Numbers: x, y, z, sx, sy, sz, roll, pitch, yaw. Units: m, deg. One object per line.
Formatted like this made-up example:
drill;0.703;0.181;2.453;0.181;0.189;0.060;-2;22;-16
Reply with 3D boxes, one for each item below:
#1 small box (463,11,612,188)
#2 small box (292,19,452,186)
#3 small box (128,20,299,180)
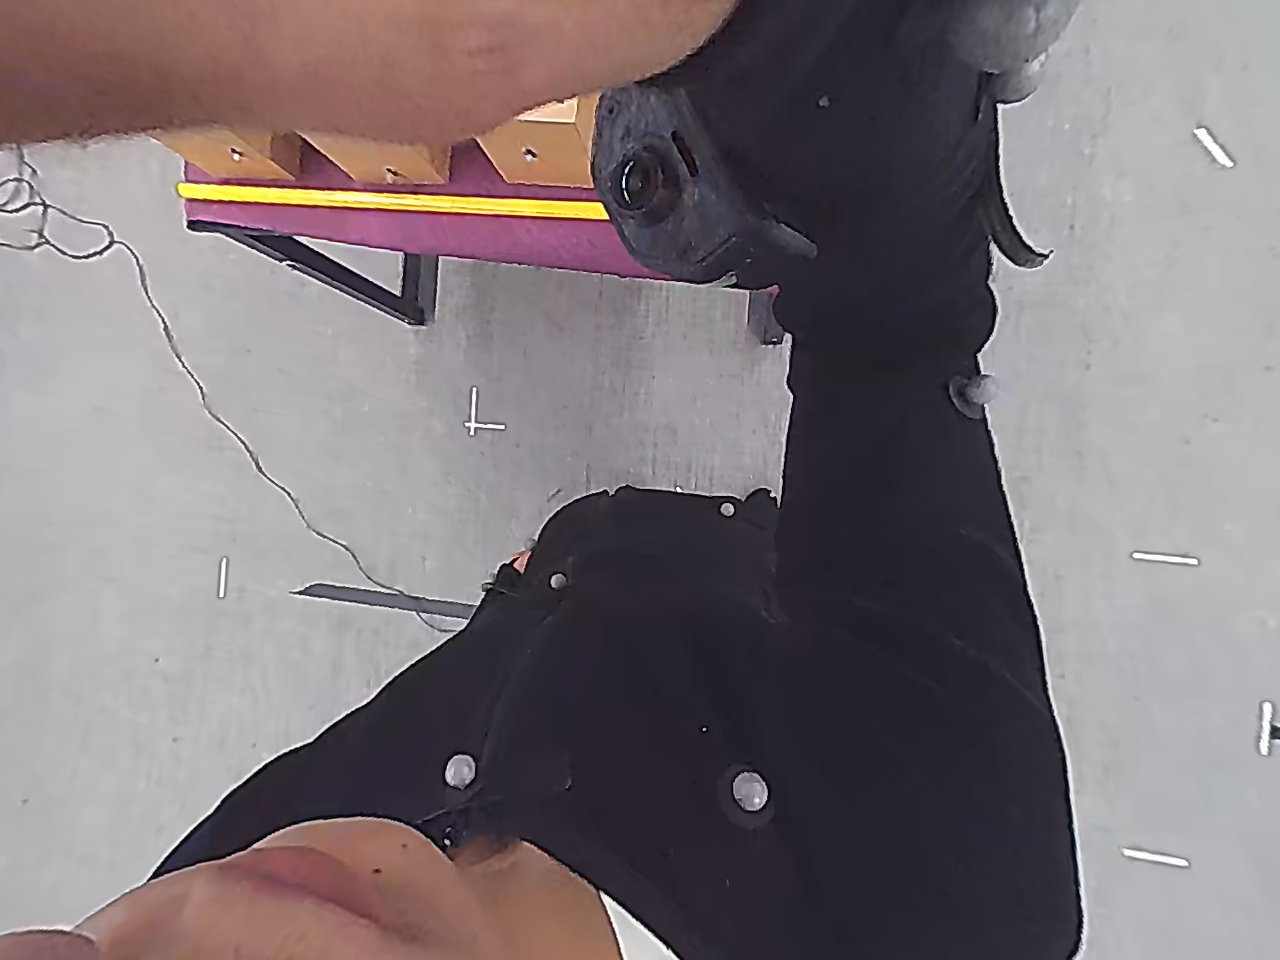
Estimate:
small box;-0.151;-0.588;0.855;0.179;0.176;0.168;8;90;10
small box;-0.432;-0.614;0.898;0.179;0.176;0.168;5;91;8
small box;-0.723;-0.647;0.939;0.179;0.176;0.168;5;90;6
